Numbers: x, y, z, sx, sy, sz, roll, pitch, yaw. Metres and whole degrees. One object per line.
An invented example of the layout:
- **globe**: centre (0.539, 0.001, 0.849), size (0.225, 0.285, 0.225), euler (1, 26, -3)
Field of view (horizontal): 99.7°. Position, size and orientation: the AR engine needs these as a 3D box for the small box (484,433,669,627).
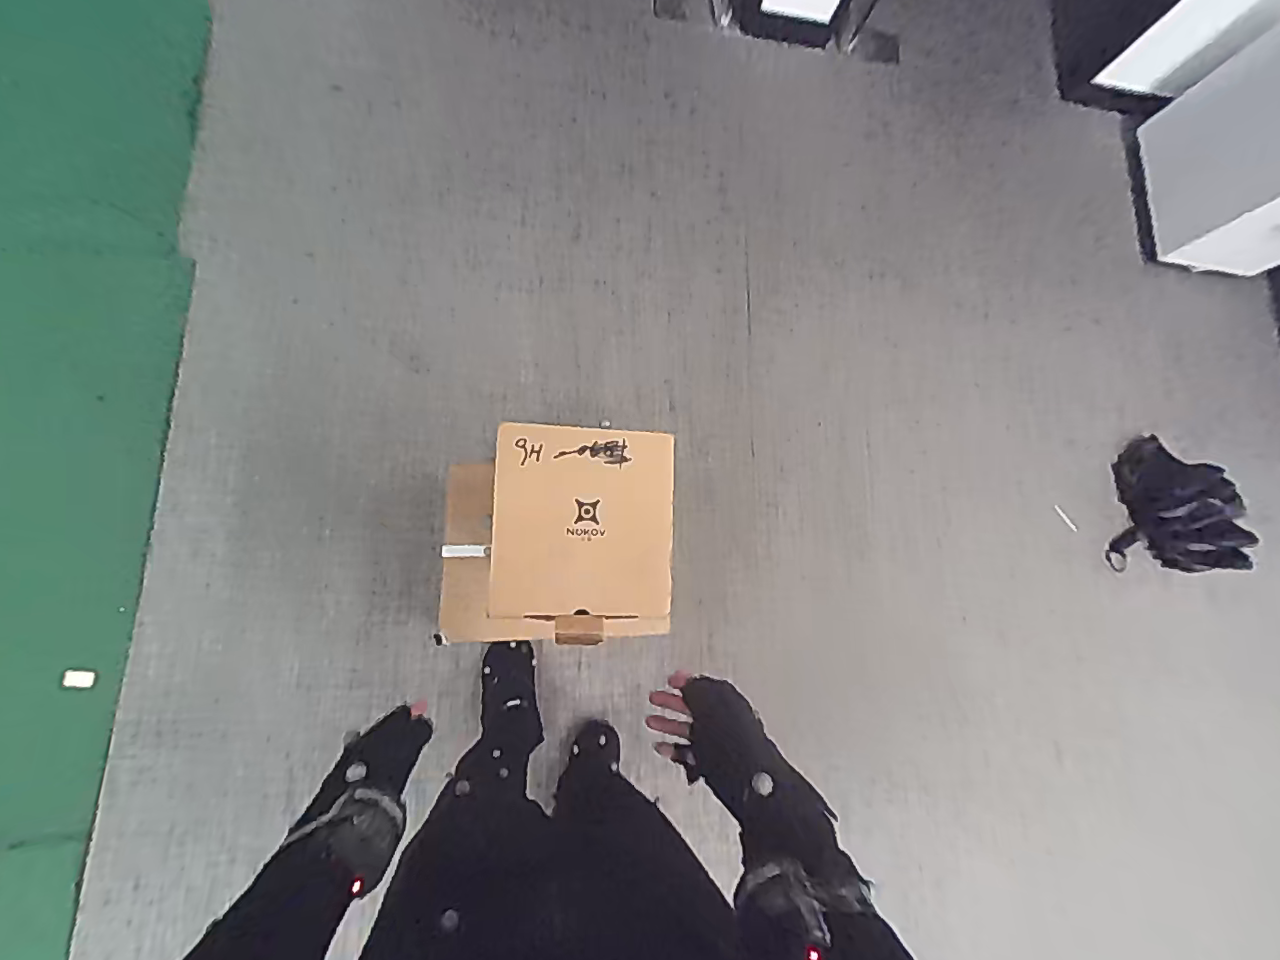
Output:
- **small box**: centre (-0.070, 0.053, 0.578), size (0.168, 0.176, 0.179), euler (2, 85, -11)
